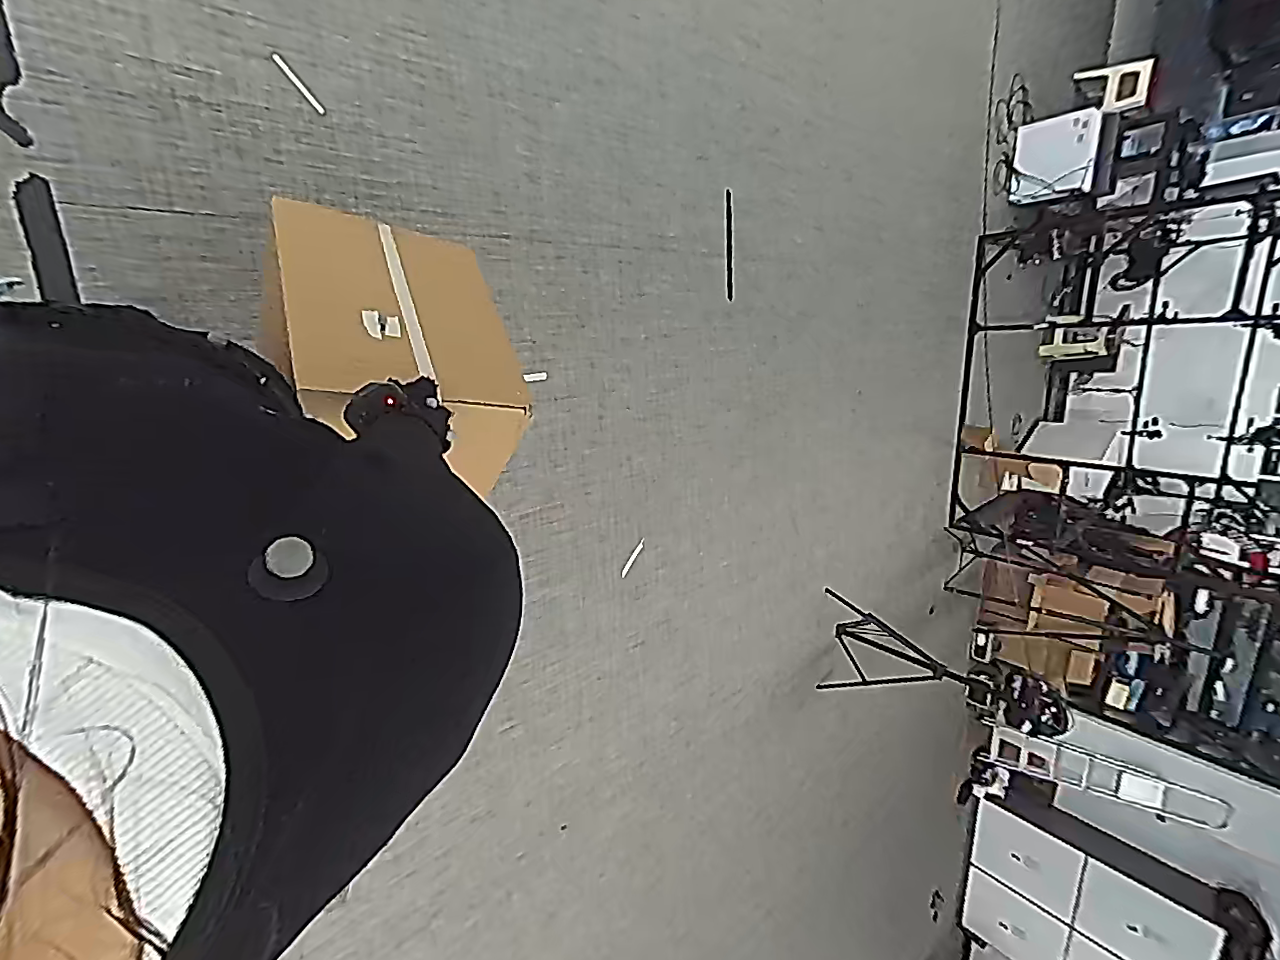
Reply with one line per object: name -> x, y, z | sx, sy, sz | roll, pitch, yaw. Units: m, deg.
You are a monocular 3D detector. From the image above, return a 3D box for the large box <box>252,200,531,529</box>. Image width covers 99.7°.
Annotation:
large box -> -0.437, -0.173, 0.908 | 0.320, 0.408, 0.320 | -2, 146, -40
